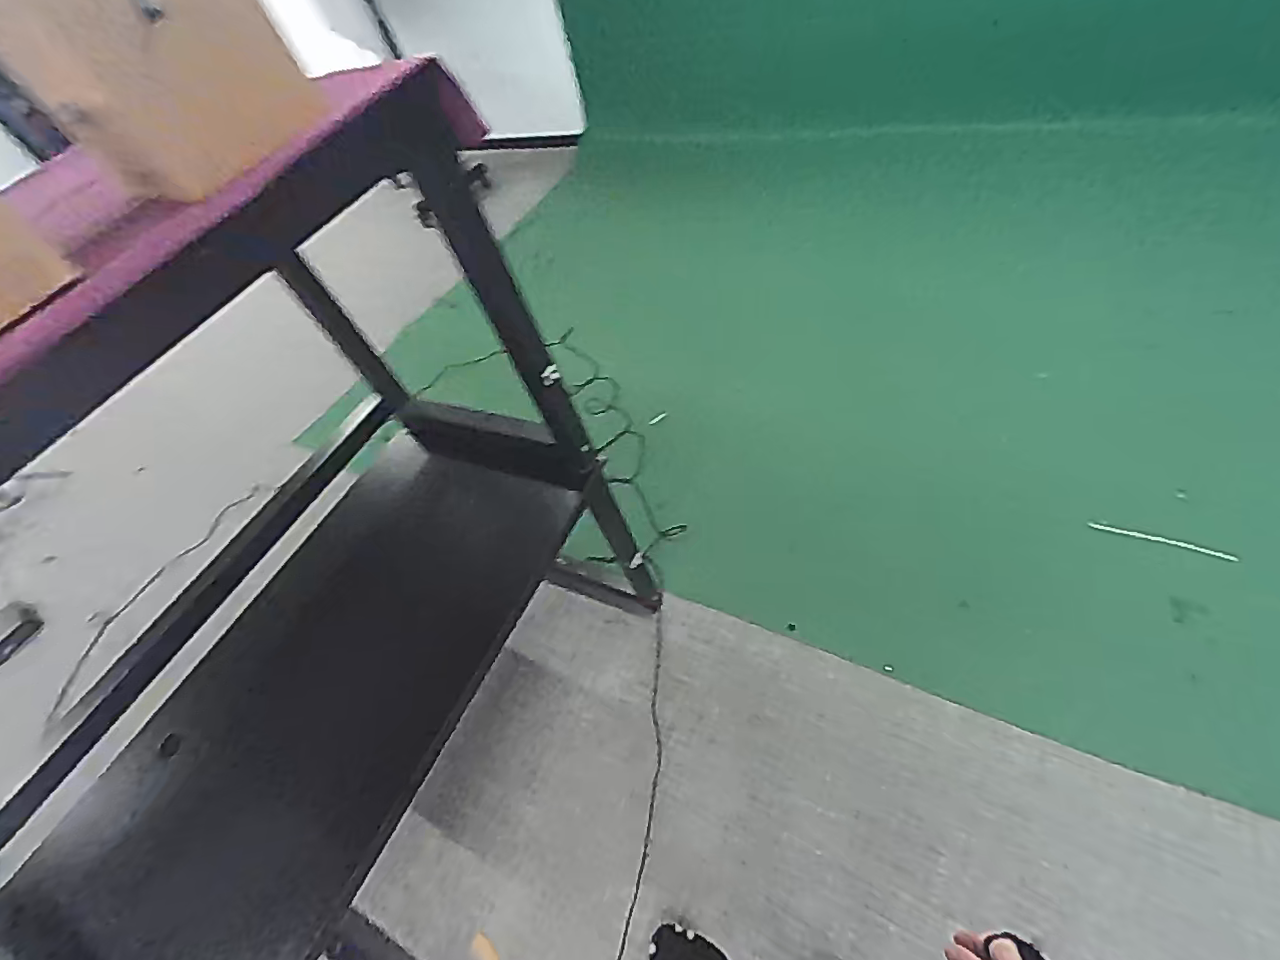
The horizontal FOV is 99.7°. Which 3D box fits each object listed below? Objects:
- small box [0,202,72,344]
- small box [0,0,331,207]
[{"bbox_3d":[-0.584,-0.169,0.392,0.168,0.176,0.179,14,59,27],"label":"small box"},{"bbox_3d":[-0.453,-0.389,0.523,0.168,0.176,0.179,19,61,27],"label":"small box"}]
